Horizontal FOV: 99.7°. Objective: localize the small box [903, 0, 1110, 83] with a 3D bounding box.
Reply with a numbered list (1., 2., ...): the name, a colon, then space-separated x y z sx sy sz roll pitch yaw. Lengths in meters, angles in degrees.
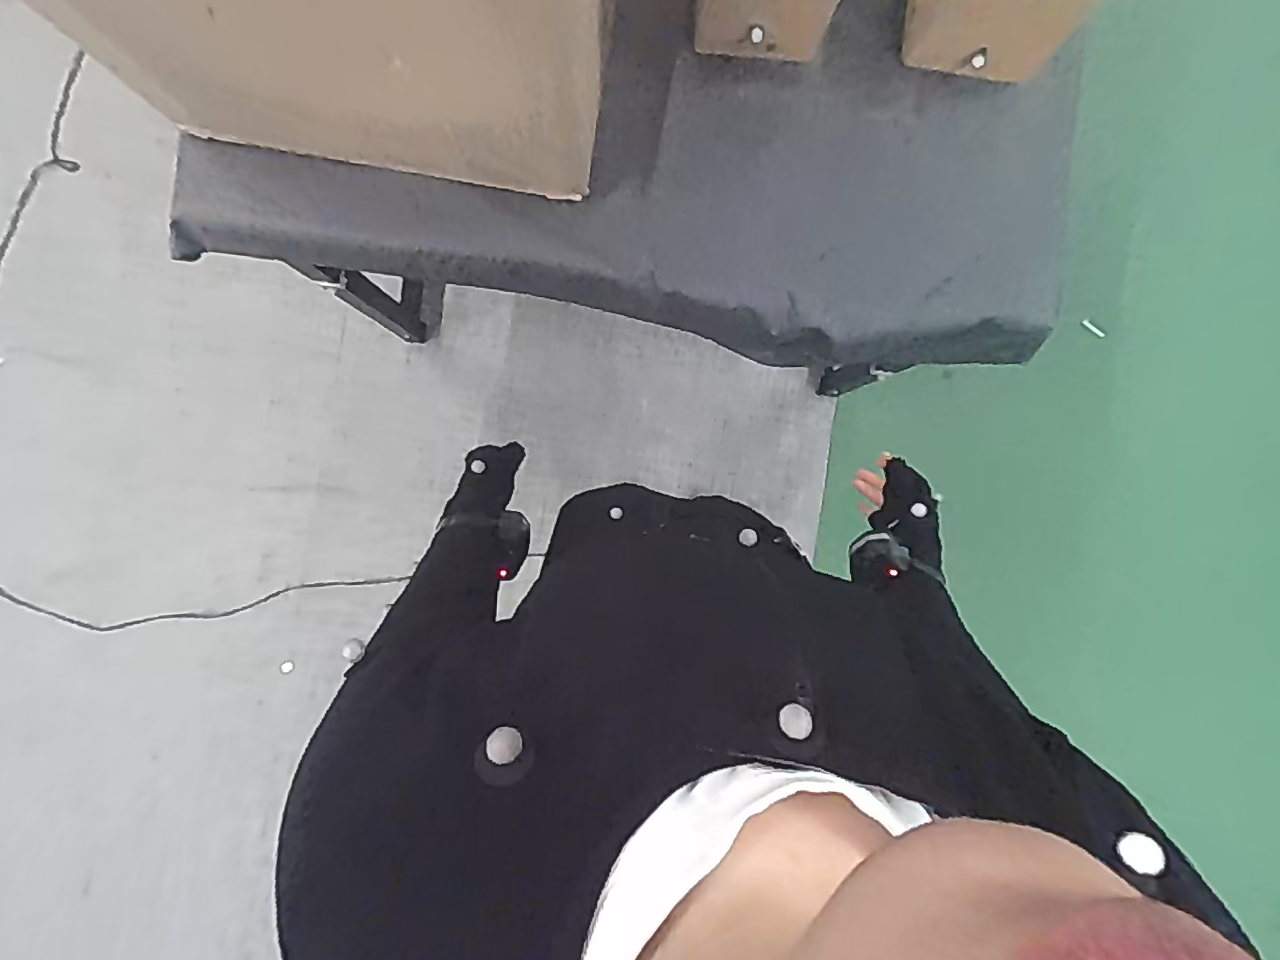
1. small box: 0.469 -0.649 0.684 0.179 0.176 0.168 7 90 -2
